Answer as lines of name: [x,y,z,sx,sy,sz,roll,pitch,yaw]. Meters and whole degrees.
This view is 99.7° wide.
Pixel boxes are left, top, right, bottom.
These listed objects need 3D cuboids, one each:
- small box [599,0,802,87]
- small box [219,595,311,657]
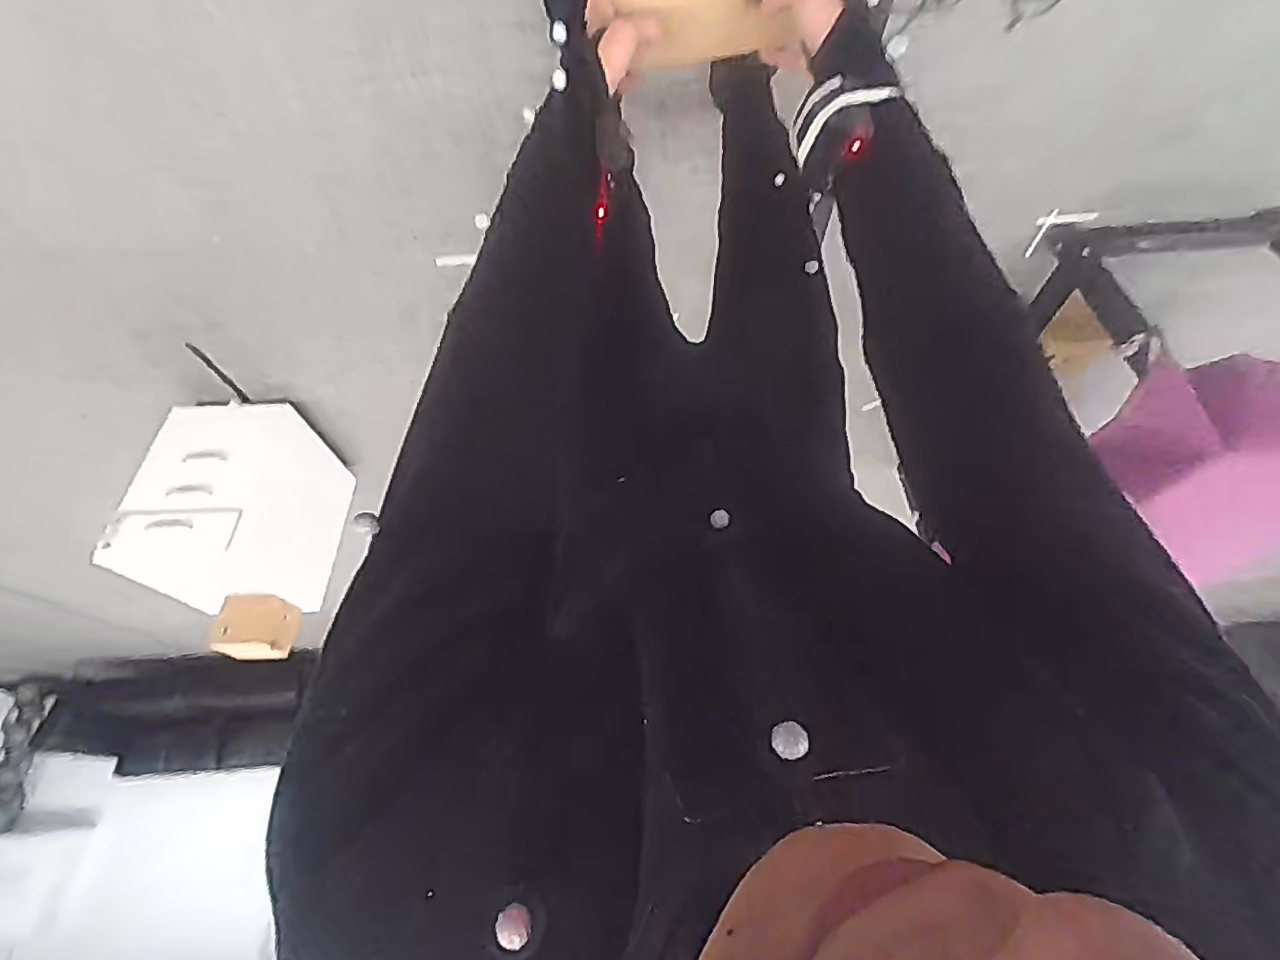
small box: [0.049,-0.495,0.482,0.179,0.176,0.168,-3,149,9]
small box: [-1.284,0.505,1.865,0.179,0.176,0.168,-2,149,2]
